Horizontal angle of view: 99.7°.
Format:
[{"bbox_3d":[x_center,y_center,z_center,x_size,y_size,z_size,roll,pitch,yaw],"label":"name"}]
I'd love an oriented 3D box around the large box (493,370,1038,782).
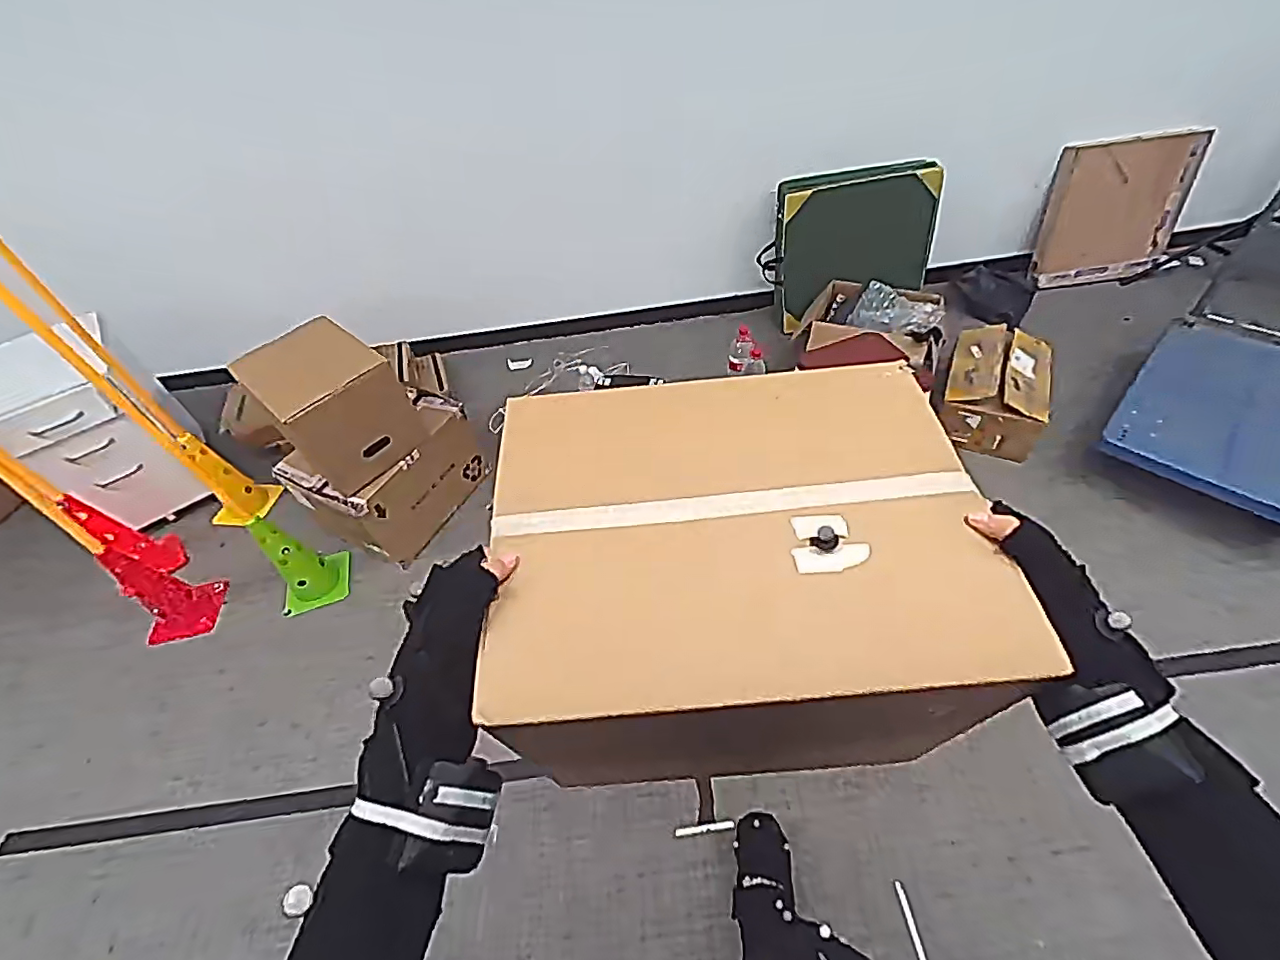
[{"bbox_3d":[0.086,0.115,0.592,0.408,0.320,0.320,-6,53,1],"label":"large box"}]
